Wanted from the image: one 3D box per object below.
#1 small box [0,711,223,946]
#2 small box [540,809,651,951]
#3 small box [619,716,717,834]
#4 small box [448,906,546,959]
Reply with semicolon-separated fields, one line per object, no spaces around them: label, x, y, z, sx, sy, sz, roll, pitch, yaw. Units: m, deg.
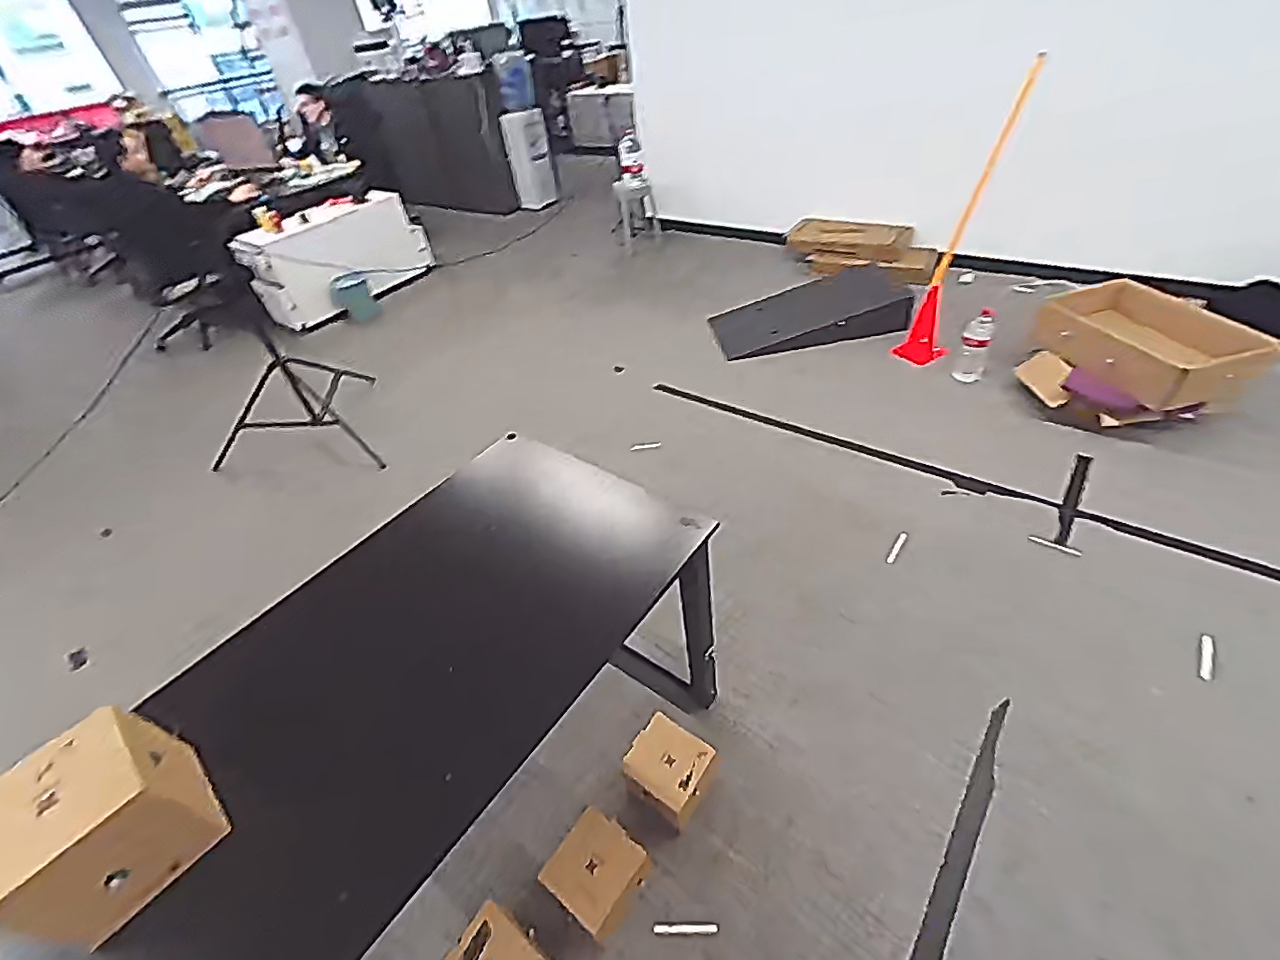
small box;-0.685;0.443;0.688;0.179;0.176;0.168;25;51;33
small box;-0.089;0.882;1.193;0.168;0.176;0.179;23;52;31
small box;0.074;0.728;1.330;0.179;0.176;0.168;21;50;30
small box;-0.282;1.012;1.081;0.179;0.176;0.168;23;51;30
